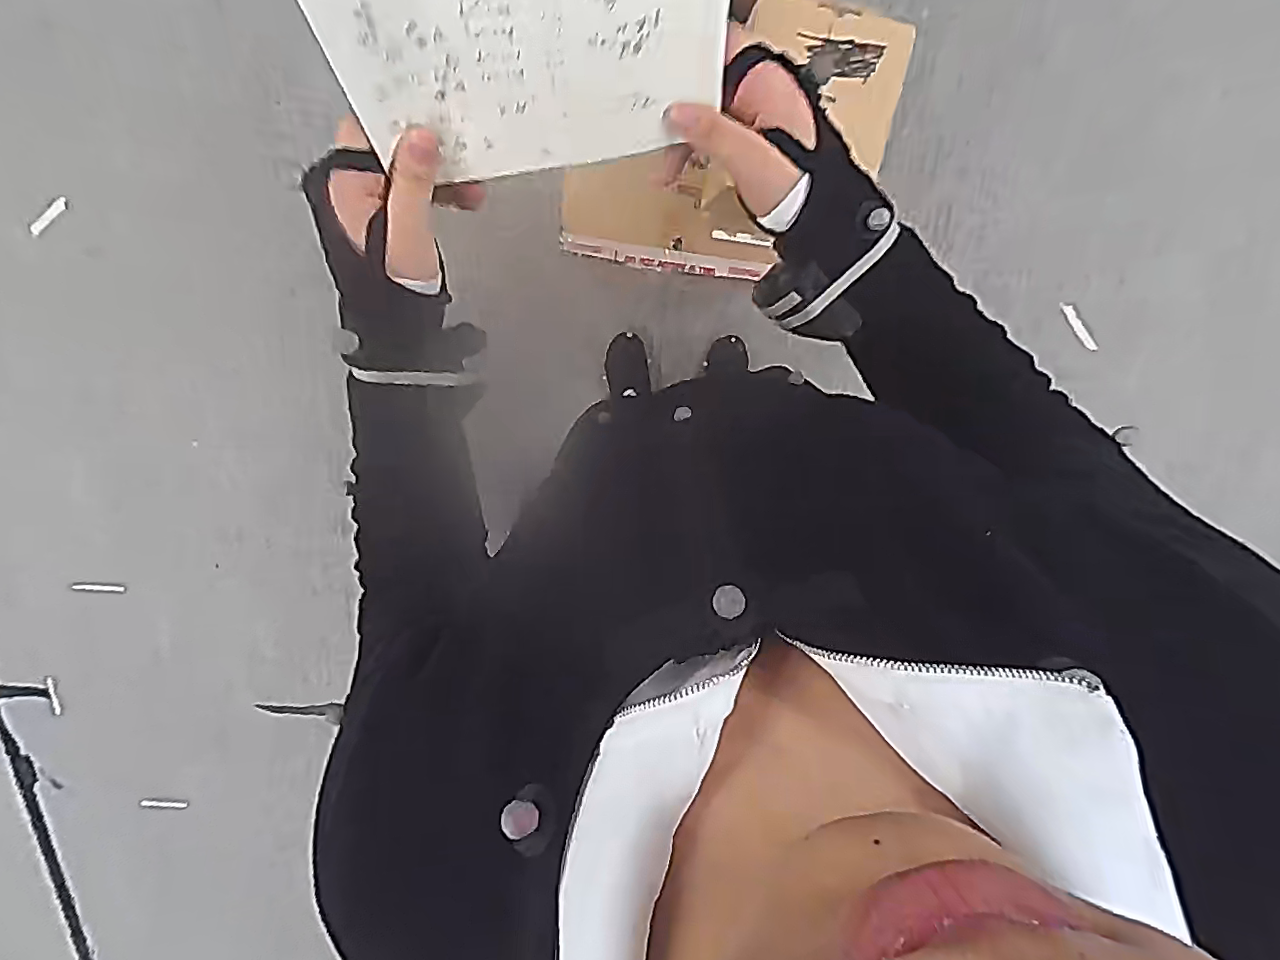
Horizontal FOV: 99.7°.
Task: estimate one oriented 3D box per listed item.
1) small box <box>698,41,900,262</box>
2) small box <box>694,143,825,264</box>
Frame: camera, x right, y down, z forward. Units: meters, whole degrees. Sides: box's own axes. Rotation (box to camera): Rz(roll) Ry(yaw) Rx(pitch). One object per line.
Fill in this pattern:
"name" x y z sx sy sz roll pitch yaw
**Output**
"small box" 0.174 -0.377 0.657 0.168 0.176 0.179 9 108 -6
"small box" 0.187 -0.426 0.815 0.179 0.176 0.168 5 107 -4
